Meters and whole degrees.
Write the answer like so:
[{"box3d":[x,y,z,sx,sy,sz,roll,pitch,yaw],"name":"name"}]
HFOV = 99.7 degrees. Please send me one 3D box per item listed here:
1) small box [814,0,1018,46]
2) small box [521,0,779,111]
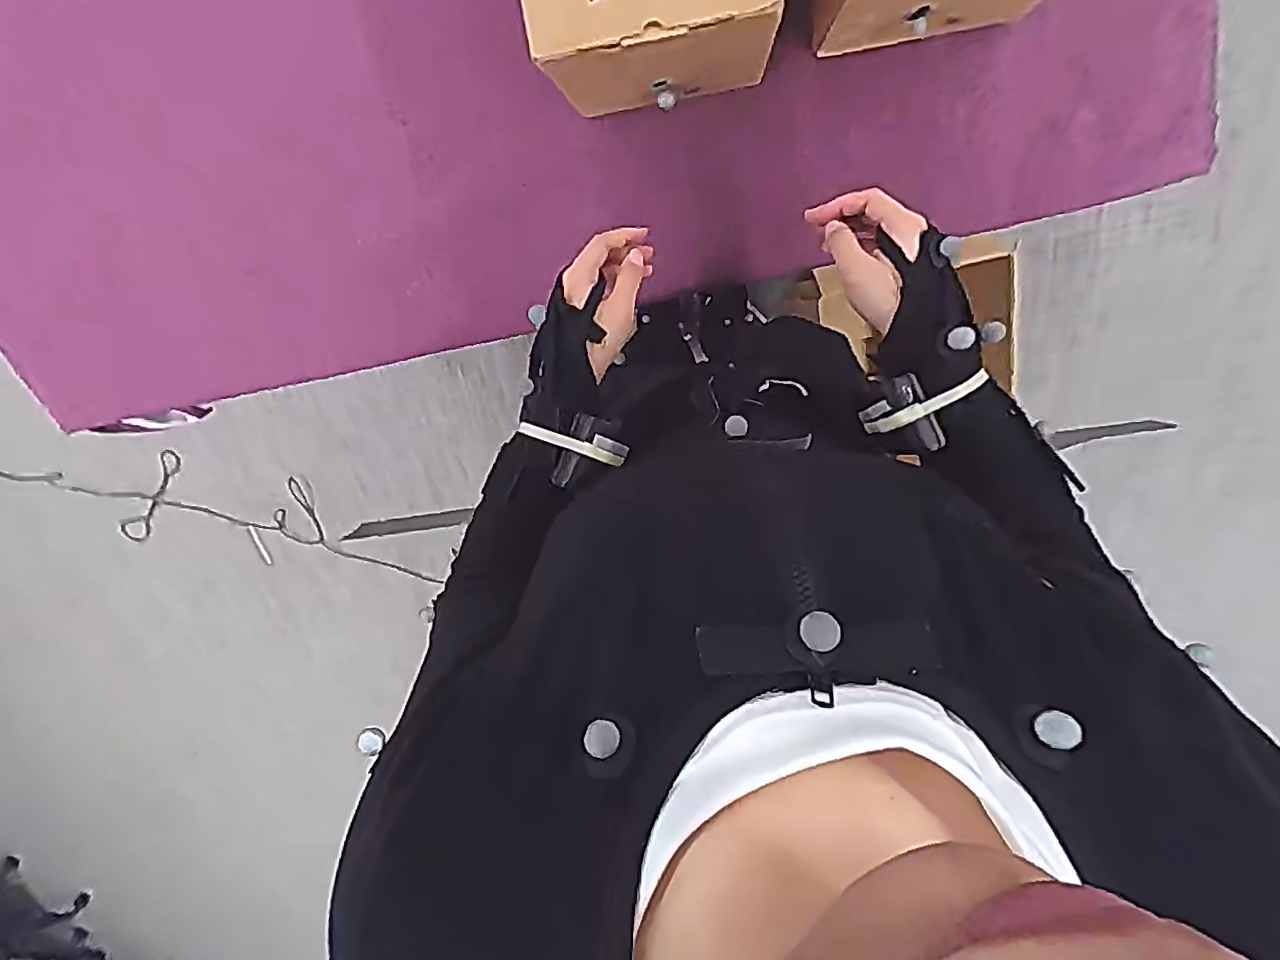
[{"box3d":[0.210,-0.428,0.350,0.168,0.176,0.179,-5,112,10],"name":"small box"},{"box3d":[0.004,-0.399,0.389,0.168,0.176,0.179,-5,113,9],"name":"small box"}]
